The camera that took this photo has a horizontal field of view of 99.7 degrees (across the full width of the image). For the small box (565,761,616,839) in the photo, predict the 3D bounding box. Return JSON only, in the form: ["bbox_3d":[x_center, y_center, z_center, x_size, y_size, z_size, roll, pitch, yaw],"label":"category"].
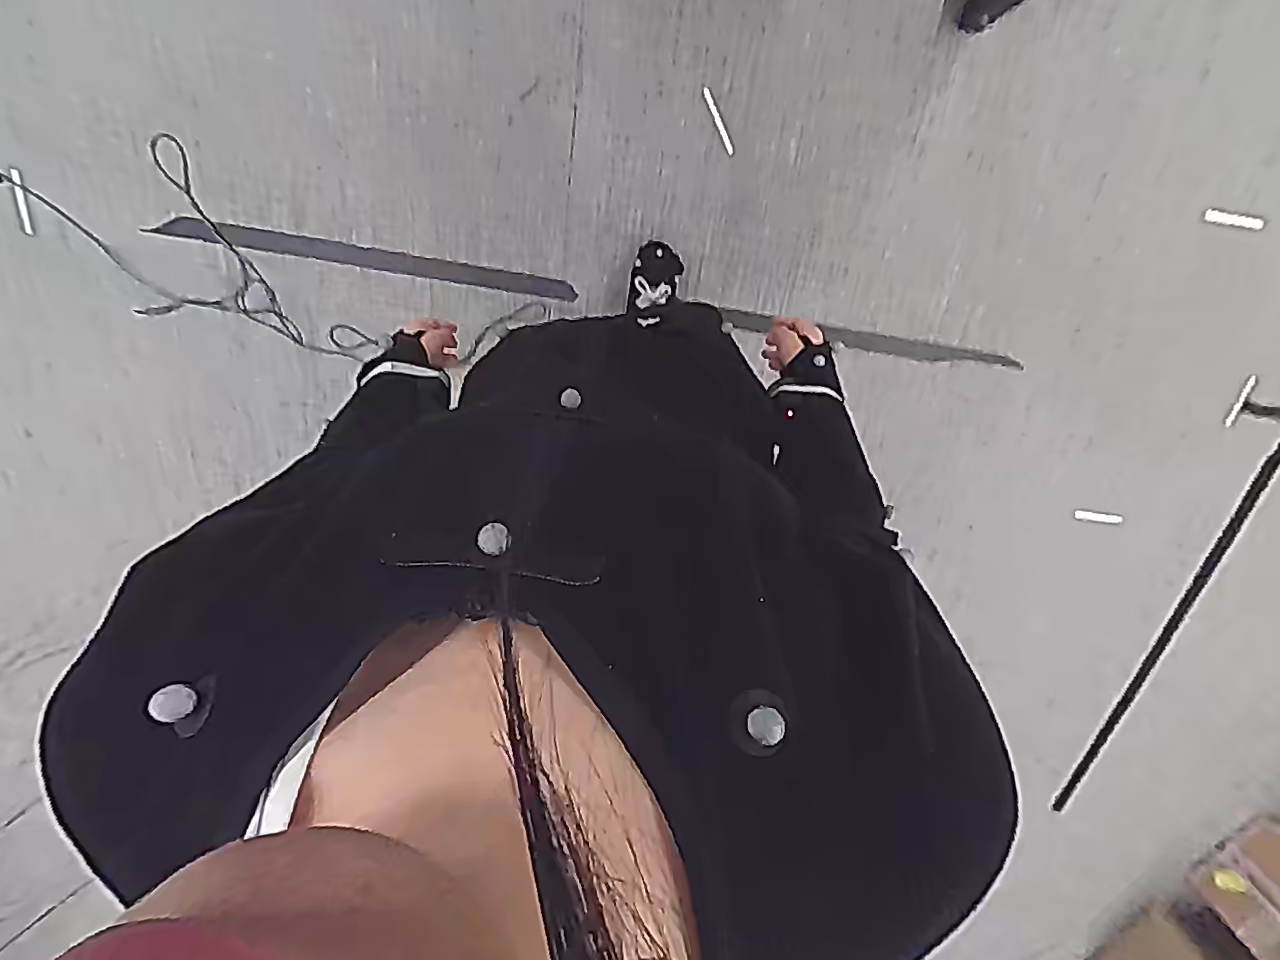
[{"bbox_3d":[-0.168,1.117,1.891,0.168,0.176,0.179,-2,112,-1],"label":"small box"}]
